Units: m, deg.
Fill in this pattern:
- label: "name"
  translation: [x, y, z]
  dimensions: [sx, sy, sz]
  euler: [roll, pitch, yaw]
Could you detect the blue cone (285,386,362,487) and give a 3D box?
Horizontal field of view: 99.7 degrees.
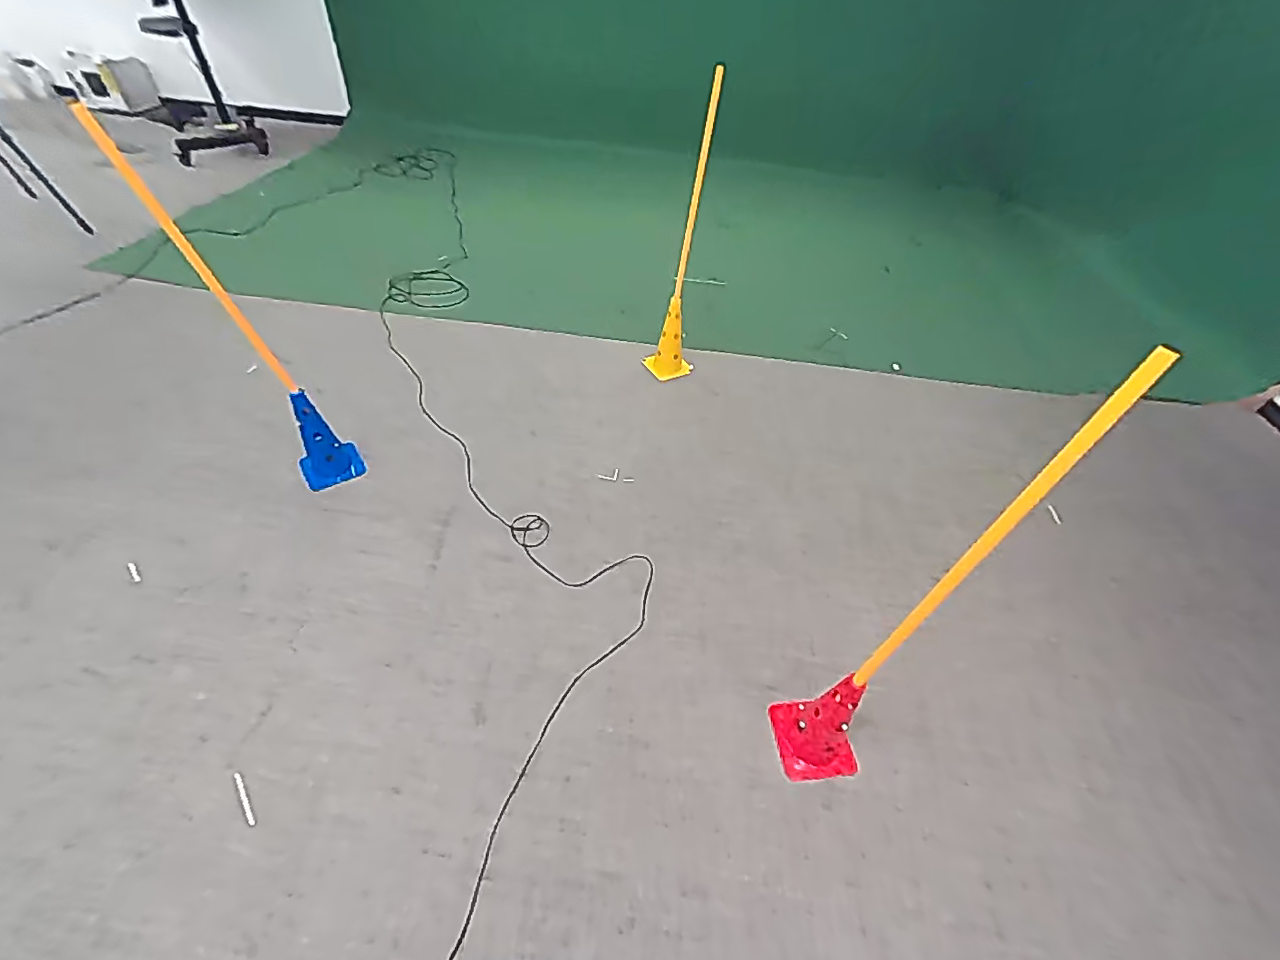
- label: "blue cone"
  translation: [-1.150, -0.168, 1.906]
  dimensions: [0.193, 0.380, 0.192]
  euler: [-28, 55, -26]
